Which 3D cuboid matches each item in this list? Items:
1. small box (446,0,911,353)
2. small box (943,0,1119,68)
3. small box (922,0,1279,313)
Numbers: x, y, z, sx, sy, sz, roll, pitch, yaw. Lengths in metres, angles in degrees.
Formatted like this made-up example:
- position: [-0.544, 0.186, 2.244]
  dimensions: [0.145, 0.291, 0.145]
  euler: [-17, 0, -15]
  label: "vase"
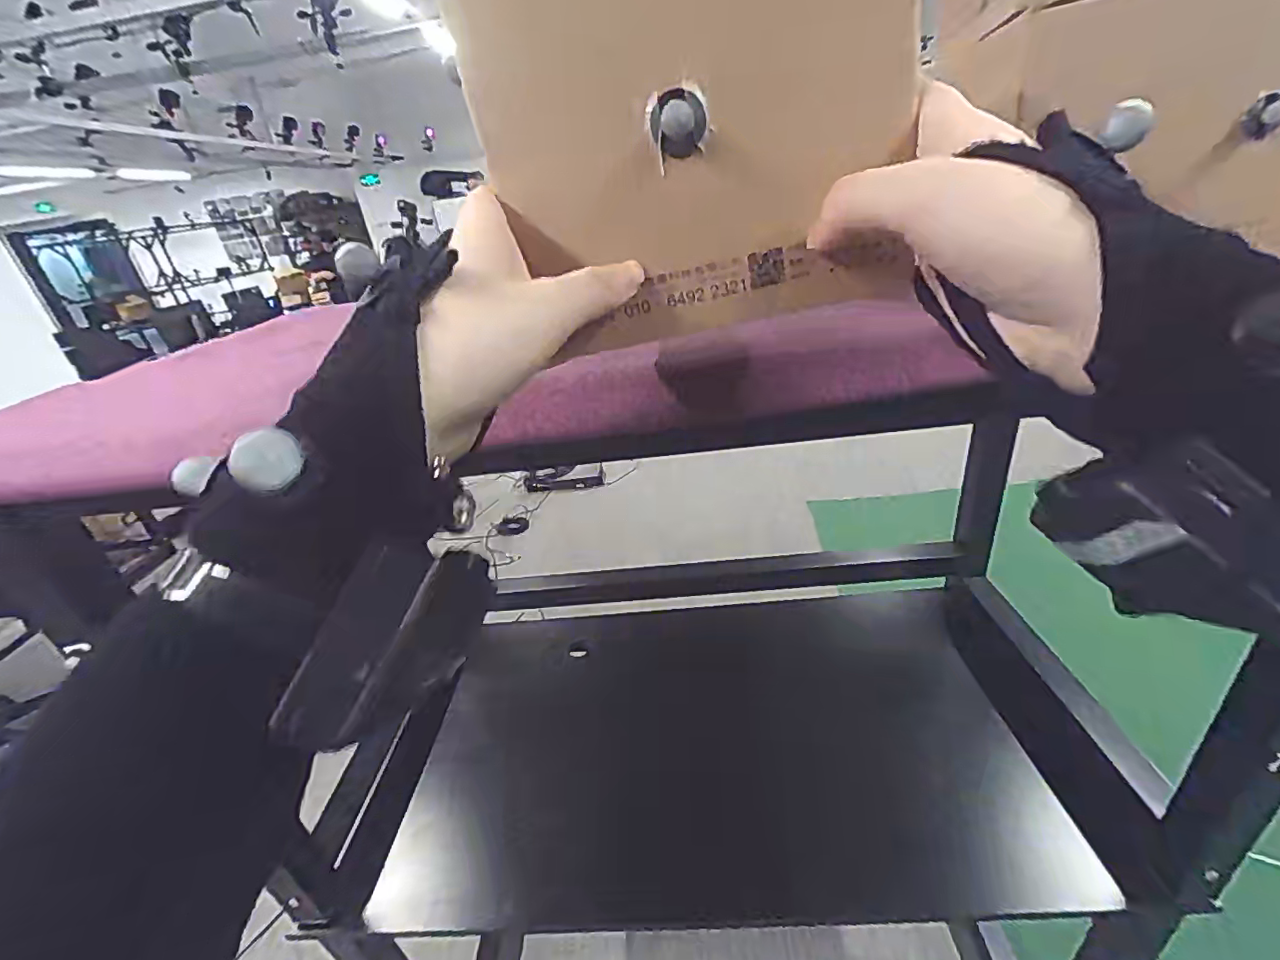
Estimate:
- position: [0.028, -0.174, 0.280]
  dimensions: [0.168, 0.176, 0.179]
  euler: [-9, 28, 7]
  label: "small box"
- position: [0.307, -0.380, 0.339]
  dimensions: [0.179, 0.176, 0.168]
  euler: [-2, 26, 13]
  label: "small box"
- position: [0.331, -0.232, 0.402]
  dimensions: [0.179, 0.176, 0.168]
  euler: [-5, 25, 11]
  label: "small box"
